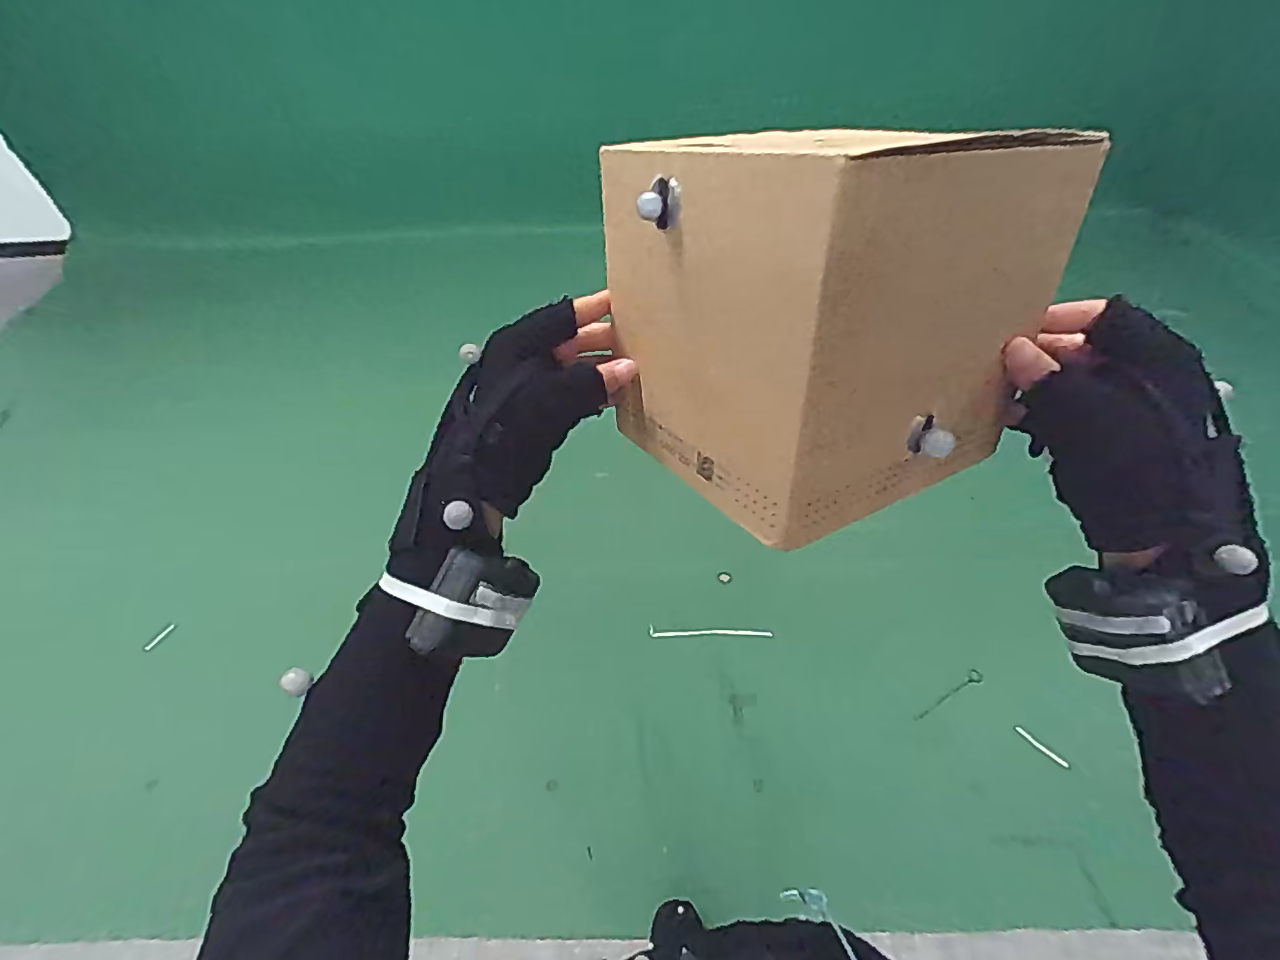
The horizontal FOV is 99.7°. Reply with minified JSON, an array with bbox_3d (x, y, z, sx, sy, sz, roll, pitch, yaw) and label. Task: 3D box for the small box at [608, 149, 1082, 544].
[{"bbox_3d":[0.094,-0.092,0.318,0.179,0.176,0.168,-19,37,-24],"label":"small box"}]
